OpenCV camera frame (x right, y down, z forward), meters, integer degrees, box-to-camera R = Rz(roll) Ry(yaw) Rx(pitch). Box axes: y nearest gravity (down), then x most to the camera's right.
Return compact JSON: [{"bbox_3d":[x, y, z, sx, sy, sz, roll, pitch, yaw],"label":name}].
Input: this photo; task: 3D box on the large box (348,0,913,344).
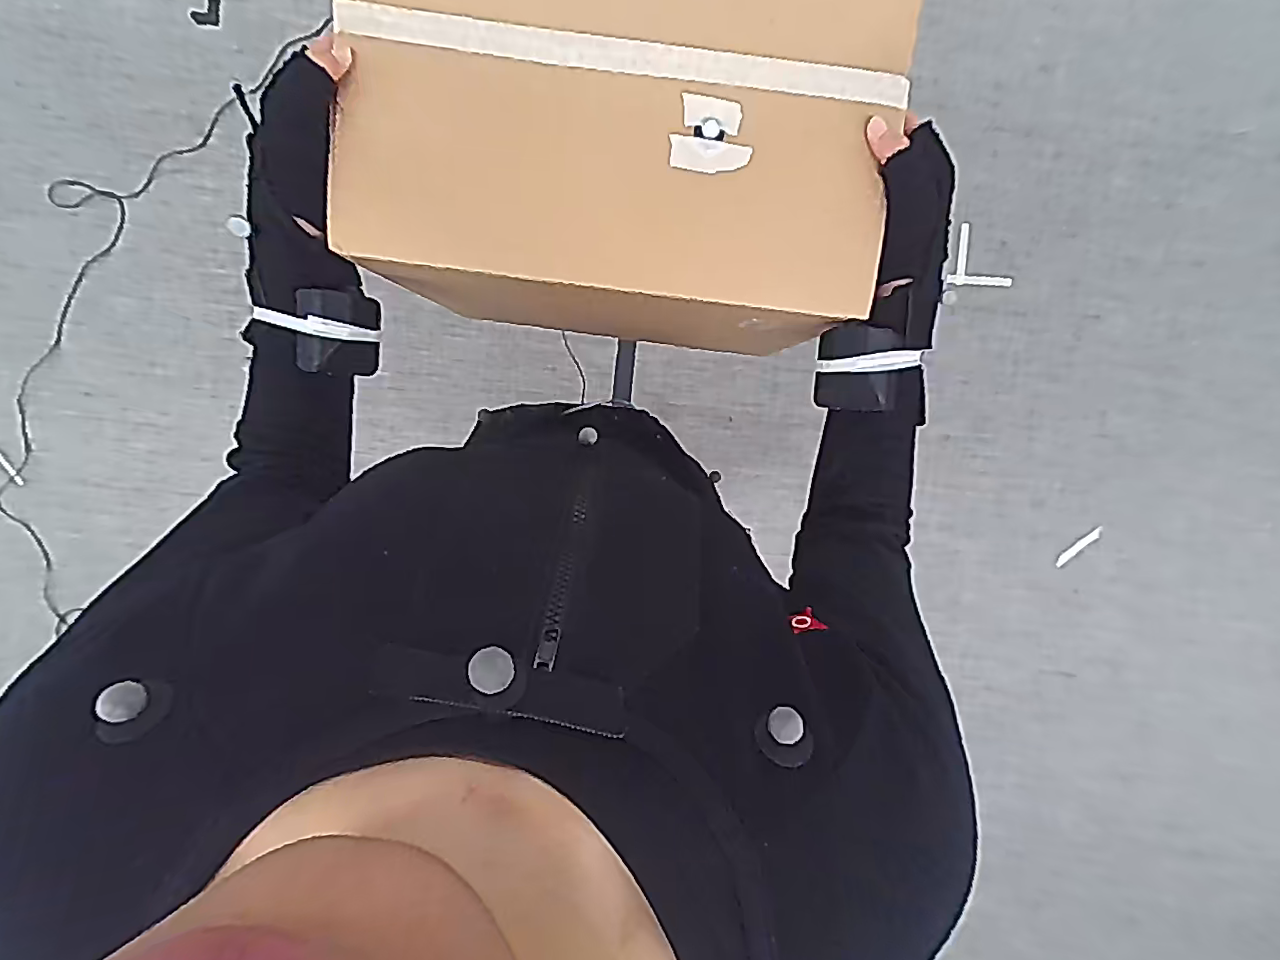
[{"bbox_3d":[-0.012,-0.326,0.538,0.408,0.320,0.320,7,99,-2],"label":"large box"}]
